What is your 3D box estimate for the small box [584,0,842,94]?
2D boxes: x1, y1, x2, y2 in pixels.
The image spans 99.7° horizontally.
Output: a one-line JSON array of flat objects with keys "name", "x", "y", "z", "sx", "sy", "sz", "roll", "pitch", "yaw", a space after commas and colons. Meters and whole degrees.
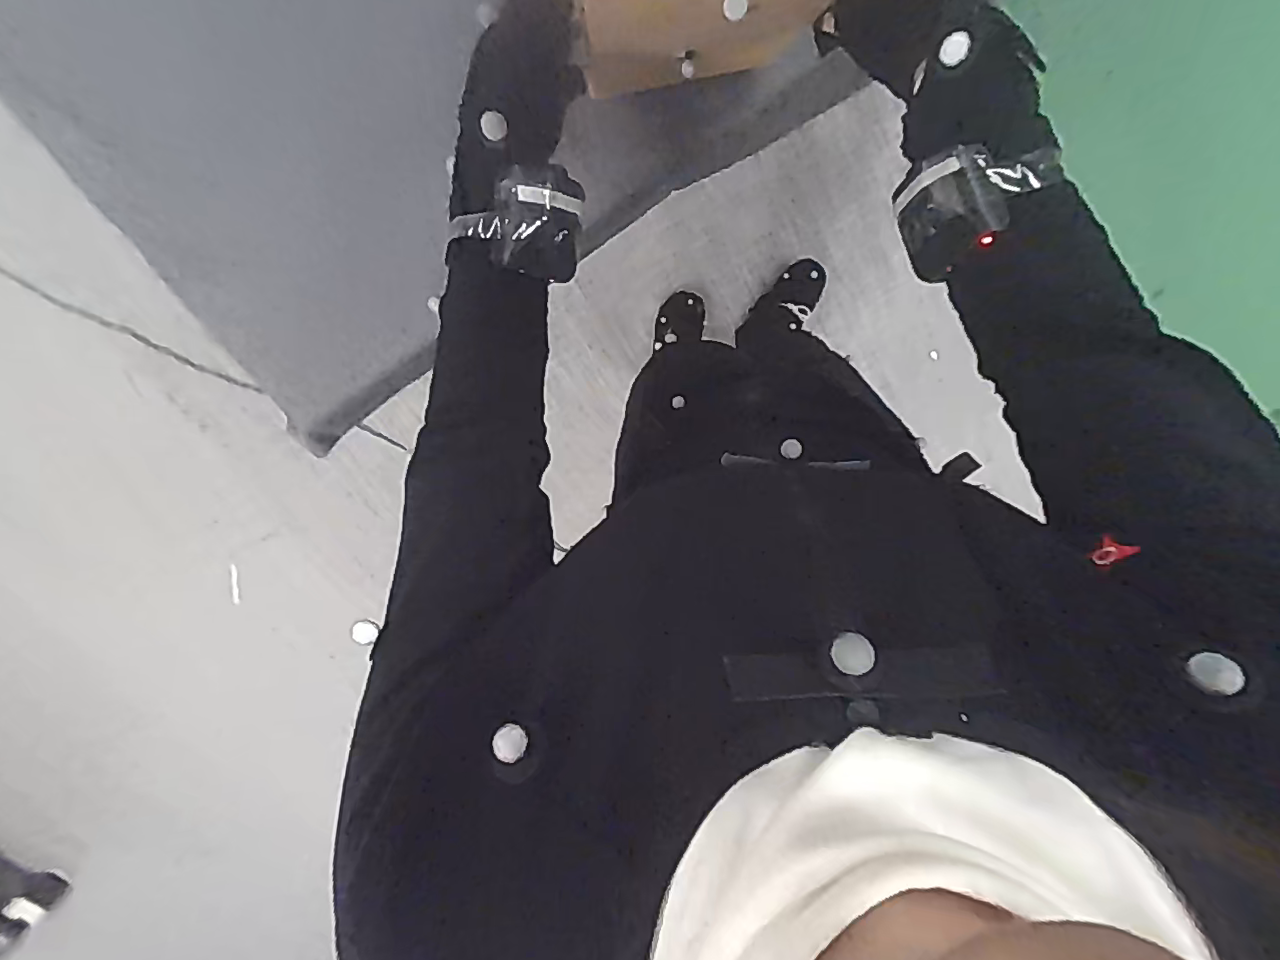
[{"name": "small box", "x": 0.039, "y": -0.419, "z": 0.410, "sx": 0.179, "sy": 0.176, "sz": 0.168, "roll": -9, "pitch": 114, "yaw": 2}]
